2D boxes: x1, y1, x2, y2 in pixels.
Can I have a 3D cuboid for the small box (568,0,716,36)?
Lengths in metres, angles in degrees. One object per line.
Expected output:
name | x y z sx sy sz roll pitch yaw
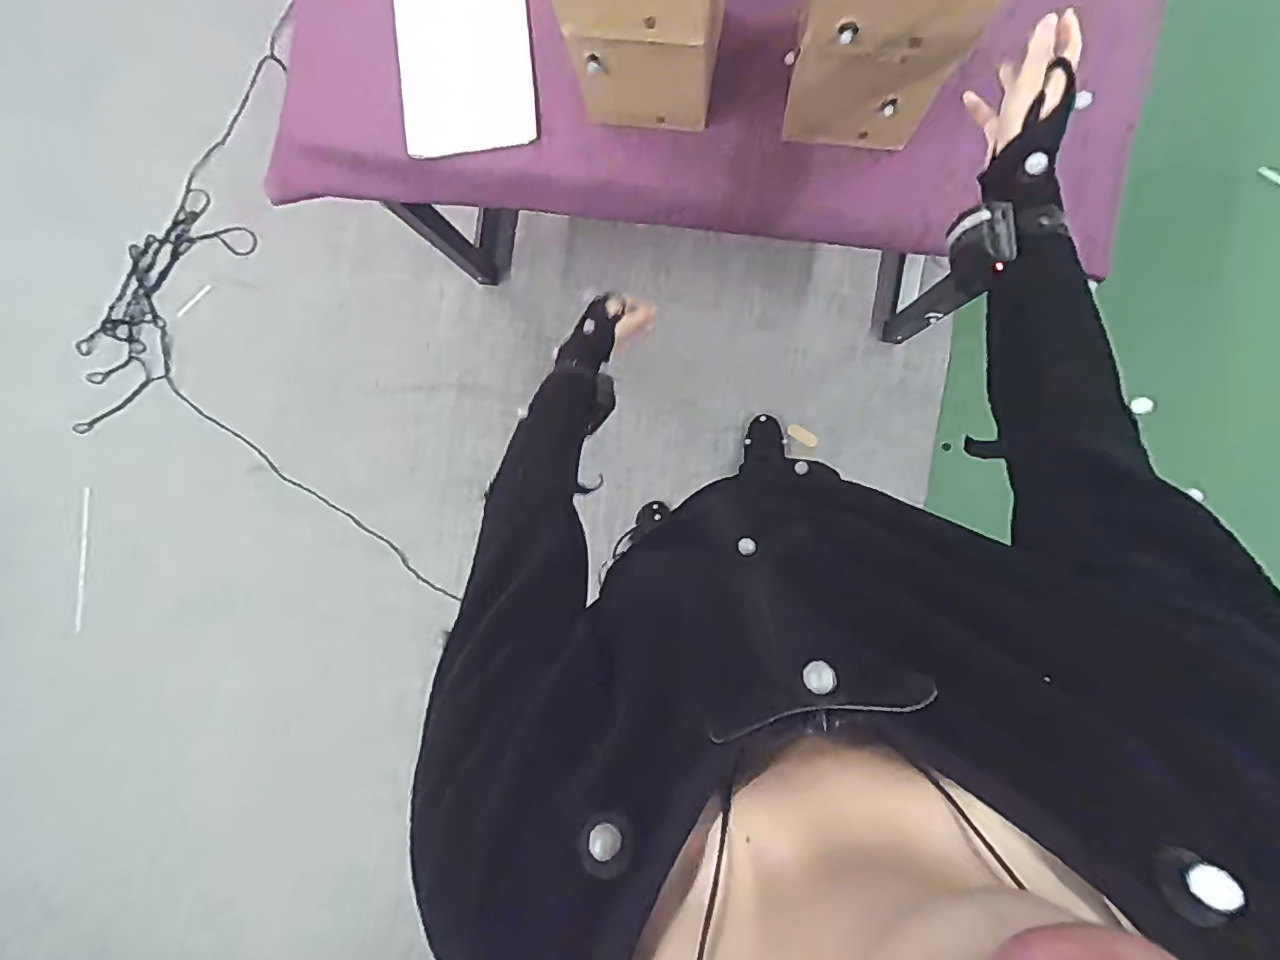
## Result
small box | 0.003 -0.586 0.528 0.168 0.176 0.179 10 91 6

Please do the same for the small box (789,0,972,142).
small box | 0.287 -0.551 0.661 0.168 0.176 0.179 10 91 6
